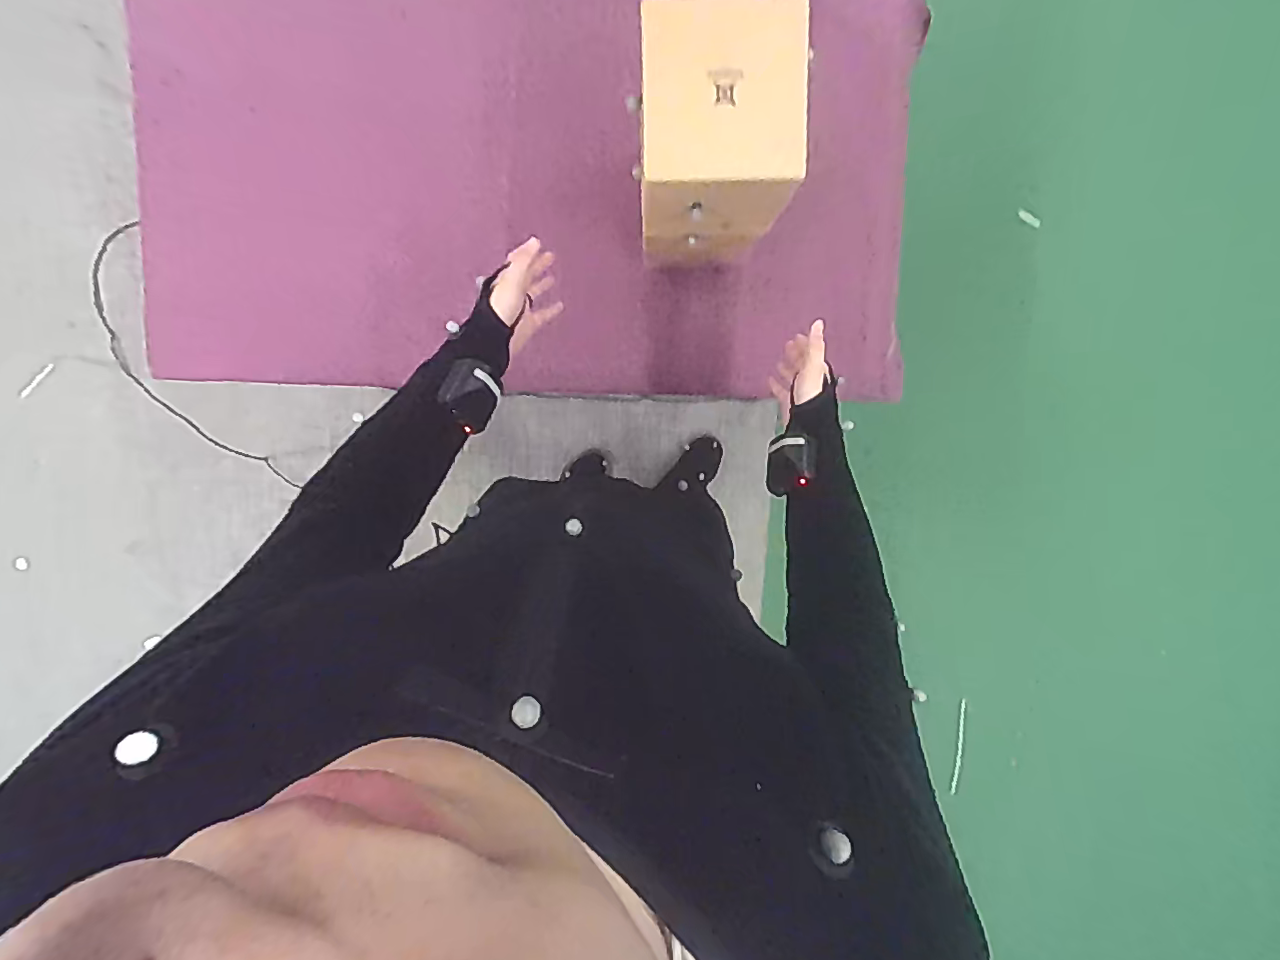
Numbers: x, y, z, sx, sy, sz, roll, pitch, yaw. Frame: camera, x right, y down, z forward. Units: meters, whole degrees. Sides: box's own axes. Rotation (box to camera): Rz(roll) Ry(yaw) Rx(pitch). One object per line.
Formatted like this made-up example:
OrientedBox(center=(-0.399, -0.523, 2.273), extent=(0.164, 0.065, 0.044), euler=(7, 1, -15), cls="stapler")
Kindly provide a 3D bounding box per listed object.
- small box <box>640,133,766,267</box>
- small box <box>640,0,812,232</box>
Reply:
OrientedBox(center=(0.083, -0.419, 0.770), extent=(0.168, 0.176, 0.179), euler=(-1, 96, 1), cls="small box")
OrientedBox(center=(0.084, -0.393, 0.609), extent=(0.168, 0.176, 0.179), euler=(0, 96, 0), cls="small box")
